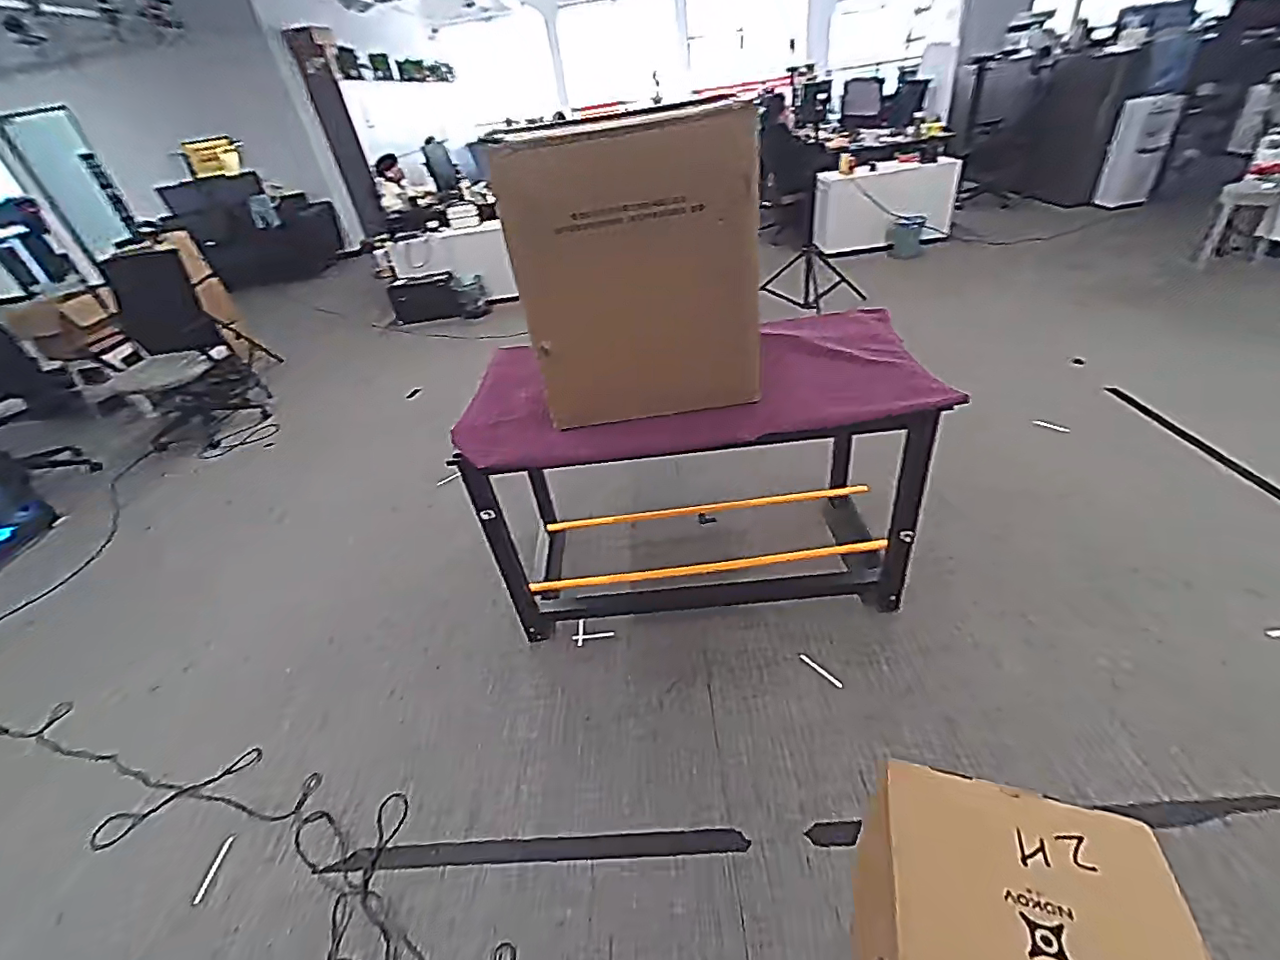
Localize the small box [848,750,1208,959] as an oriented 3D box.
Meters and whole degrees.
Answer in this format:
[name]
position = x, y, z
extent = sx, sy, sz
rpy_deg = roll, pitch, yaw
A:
[small box]
position = 0.237, 0.326, 0.358
extent = 0.168, 0.176, 0.179
rpy_deg = 7, 31, 16
